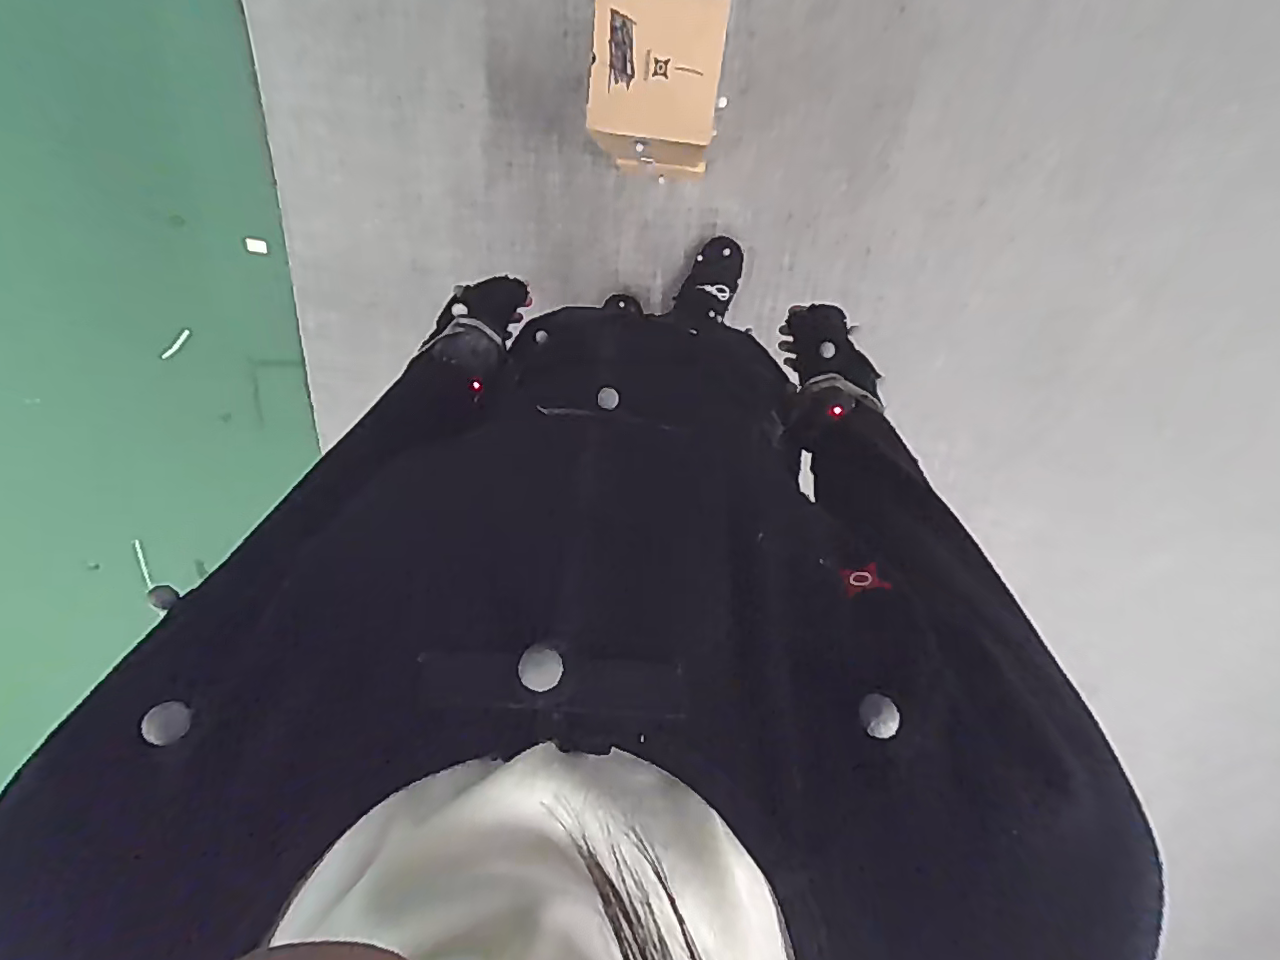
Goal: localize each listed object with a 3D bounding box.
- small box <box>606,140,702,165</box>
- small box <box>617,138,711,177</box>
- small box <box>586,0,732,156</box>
[{"bbox_3d":[0.037,-0.661,0.934,0.168,0.176,0.179,7,116,3],"label":"small box"},{"bbox_3d":[0.055,-0.717,1.087,0.179,0.176,0.168,7,114,1],"label":"small box"},{"bbox_3d":[0.028,-0.585,0.788,0.179,0.176,0.168,9,114,1],"label":"small box"}]
